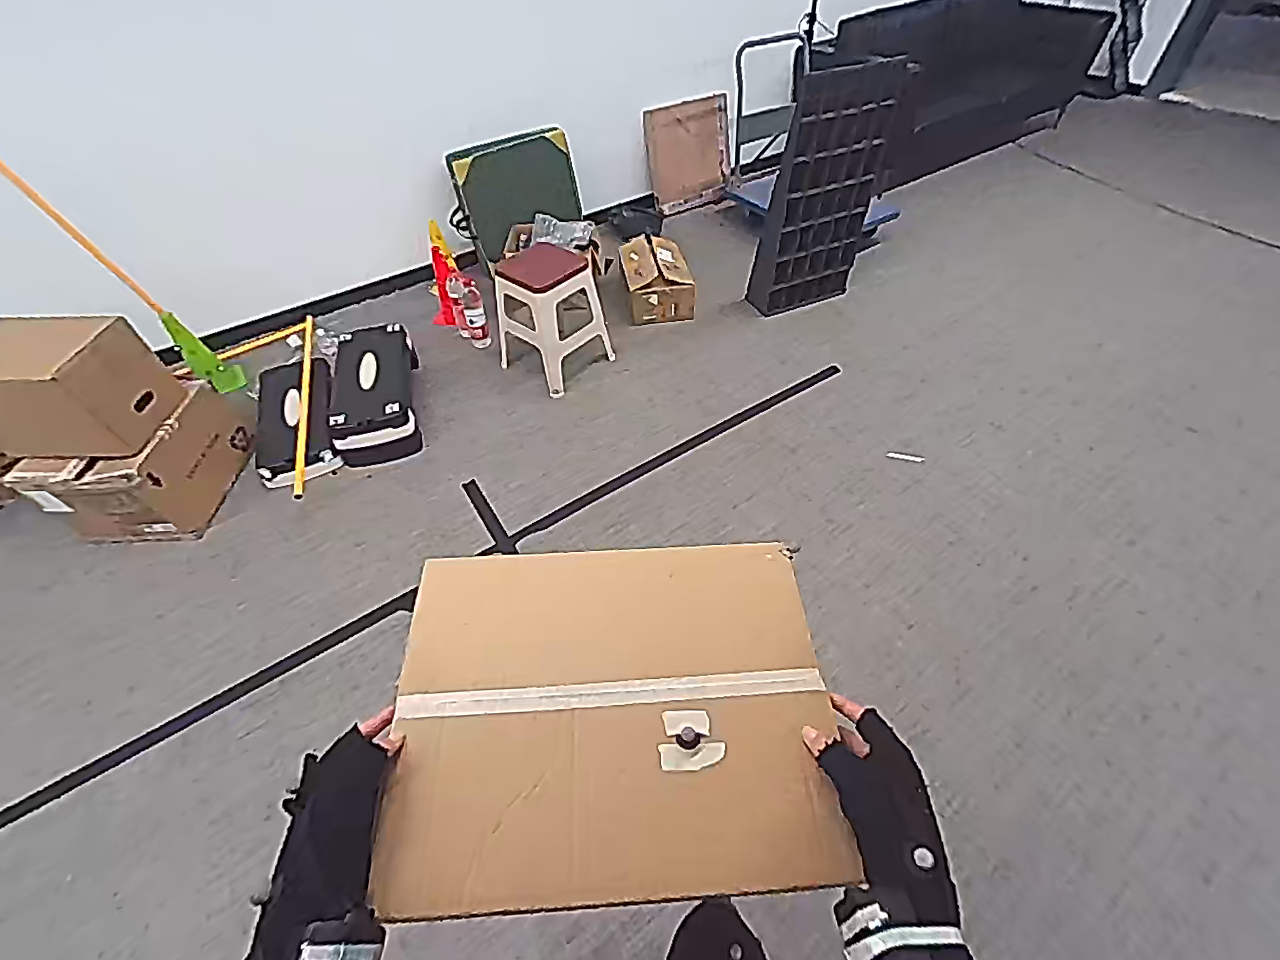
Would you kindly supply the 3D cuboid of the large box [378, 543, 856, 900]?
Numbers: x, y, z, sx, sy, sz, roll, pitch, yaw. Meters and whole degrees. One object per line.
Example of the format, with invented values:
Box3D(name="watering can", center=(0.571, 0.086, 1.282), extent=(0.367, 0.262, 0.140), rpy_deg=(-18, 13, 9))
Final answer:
Box3D(name="large box", center=(-0.027, 0.294, 0.649), extent=(0.408, 0.320, 0.320), rpy_deg=(-2, 53, -2))
